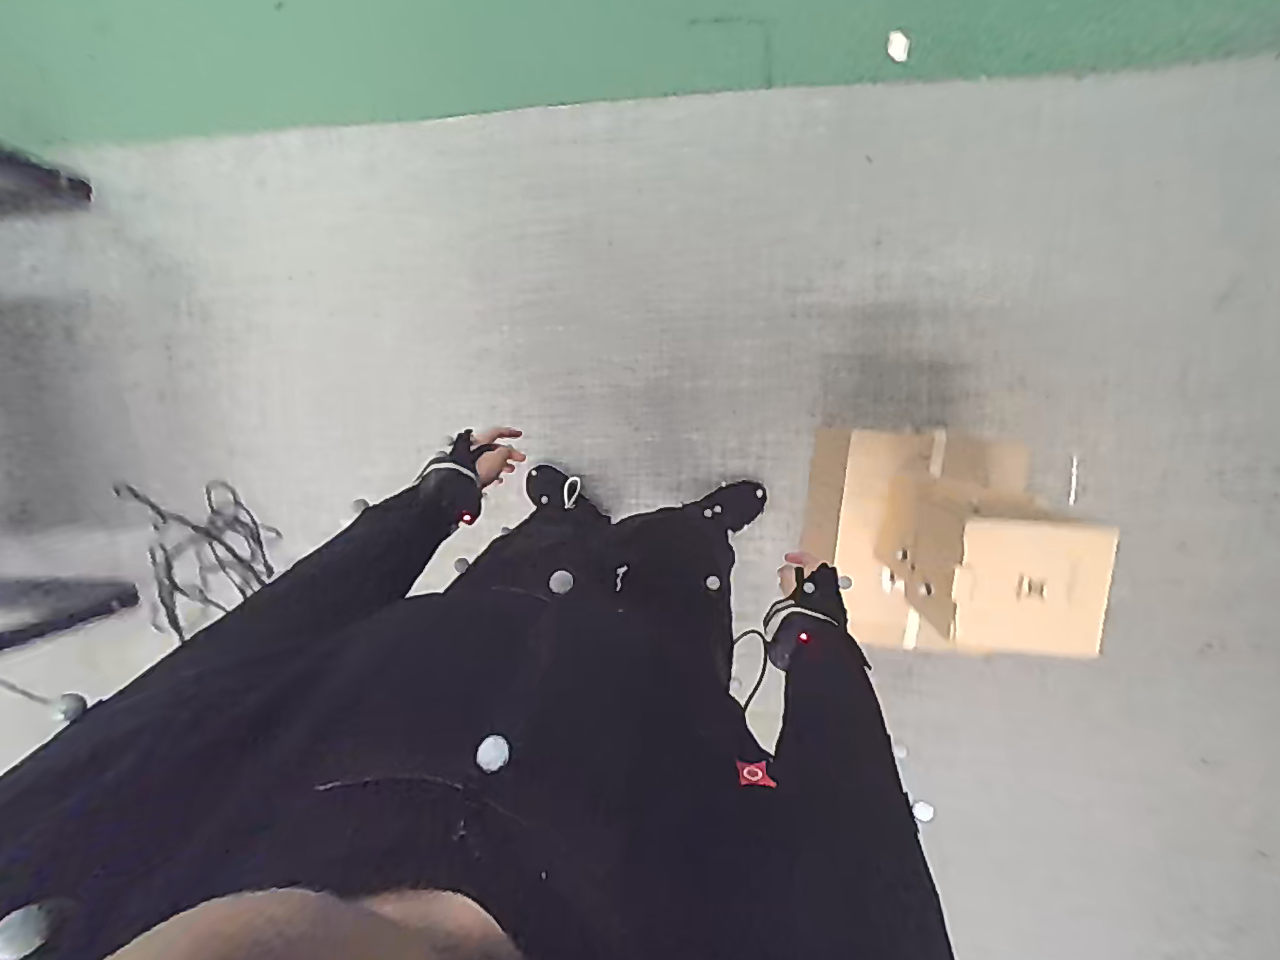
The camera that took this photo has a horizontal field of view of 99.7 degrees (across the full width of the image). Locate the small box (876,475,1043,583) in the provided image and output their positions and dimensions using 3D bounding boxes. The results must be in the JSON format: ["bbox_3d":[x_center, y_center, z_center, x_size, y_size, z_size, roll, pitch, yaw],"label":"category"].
[{"bbox_3d":[0.517,0.094,0.904,0.168,0.176,0.179,12,98,4],"label":"small box"}]

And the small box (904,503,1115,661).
[{"bbox_3d":[0.490,0.129,0.747,0.179,0.176,0.168,3,98,4],"label":"small box"}]

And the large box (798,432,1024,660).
[{"bbox_3d":[0.537,0.110,1.149,0.320,0.320,0.408,6,98,6],"label":"large box"}]
